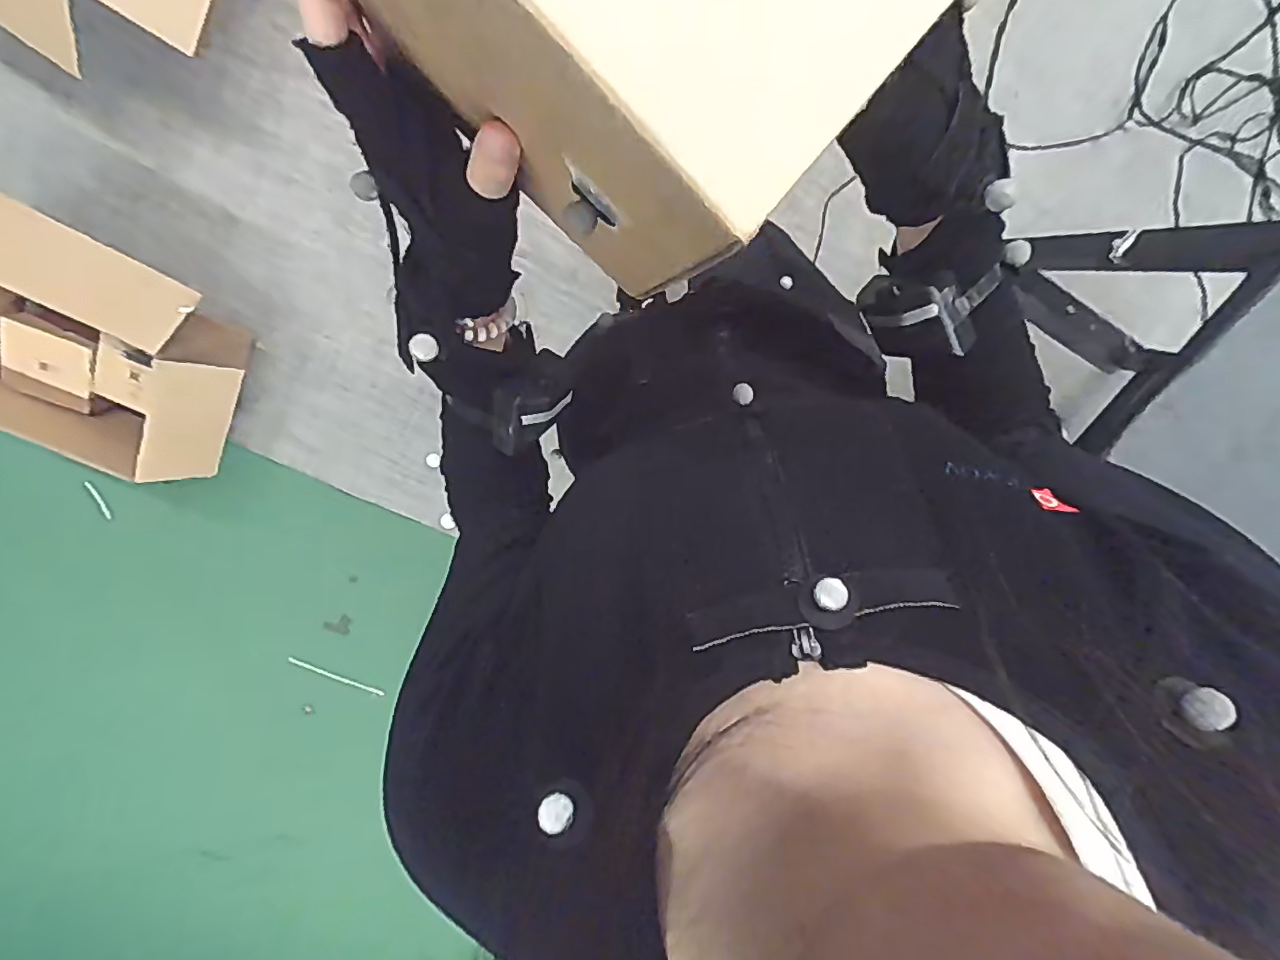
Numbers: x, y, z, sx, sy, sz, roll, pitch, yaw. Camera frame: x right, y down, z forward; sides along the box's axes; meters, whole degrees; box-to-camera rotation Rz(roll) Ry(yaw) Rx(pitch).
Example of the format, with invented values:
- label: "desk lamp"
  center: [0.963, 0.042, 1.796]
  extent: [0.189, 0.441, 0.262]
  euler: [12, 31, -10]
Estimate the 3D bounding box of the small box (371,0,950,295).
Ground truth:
- label: "small box"
  center: [0.009, -0.197, 0.195]
  extent: [0.176, 0.179, 0.168]
  euler: [40, 93, -16]
